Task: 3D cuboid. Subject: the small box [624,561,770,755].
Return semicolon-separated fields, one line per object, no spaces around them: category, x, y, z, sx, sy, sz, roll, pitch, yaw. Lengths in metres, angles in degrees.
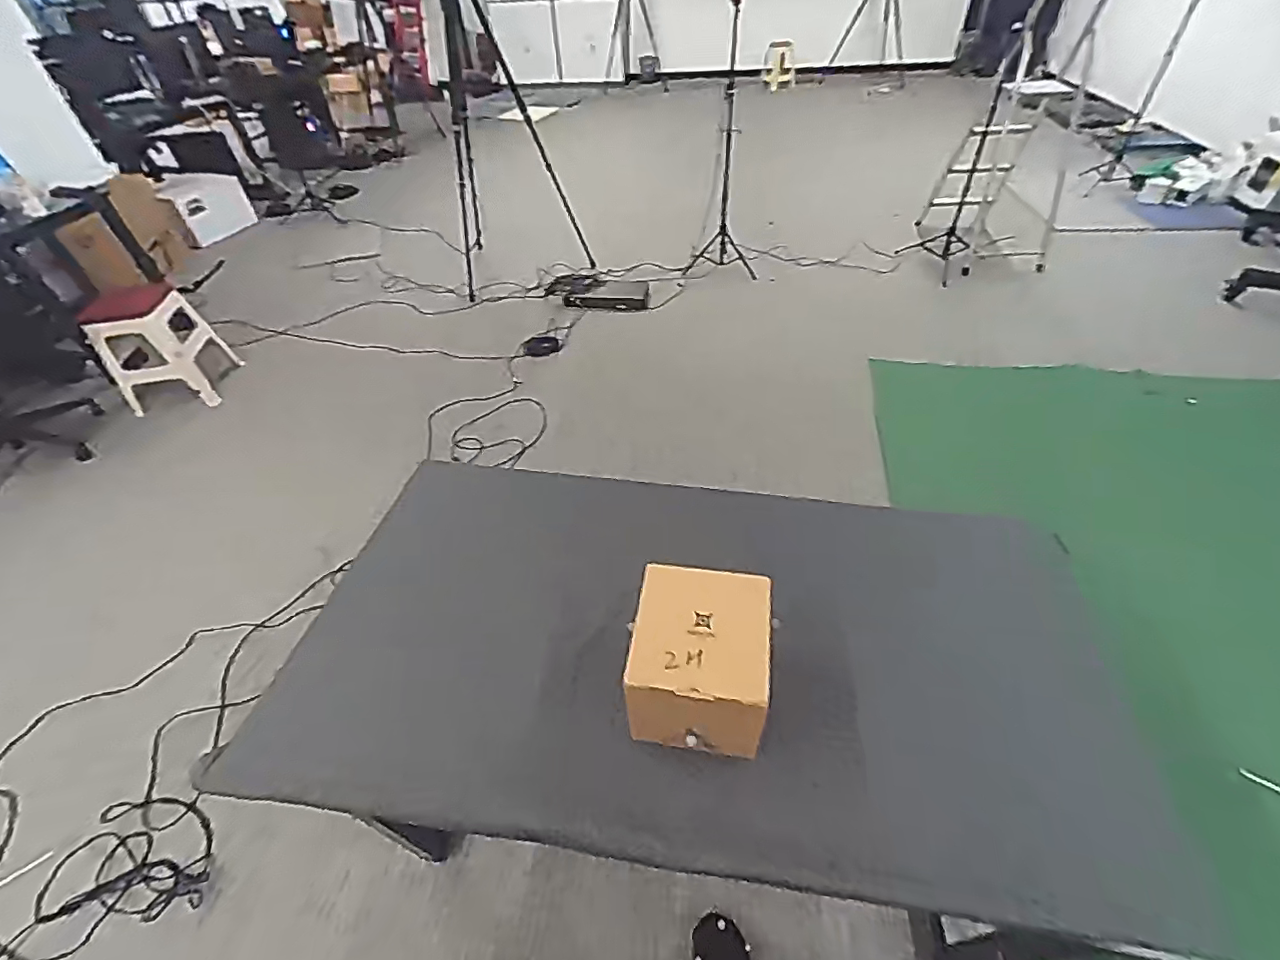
small box;0.078;0.235;0.719;0.168;0.176;0.179;5;45;9
